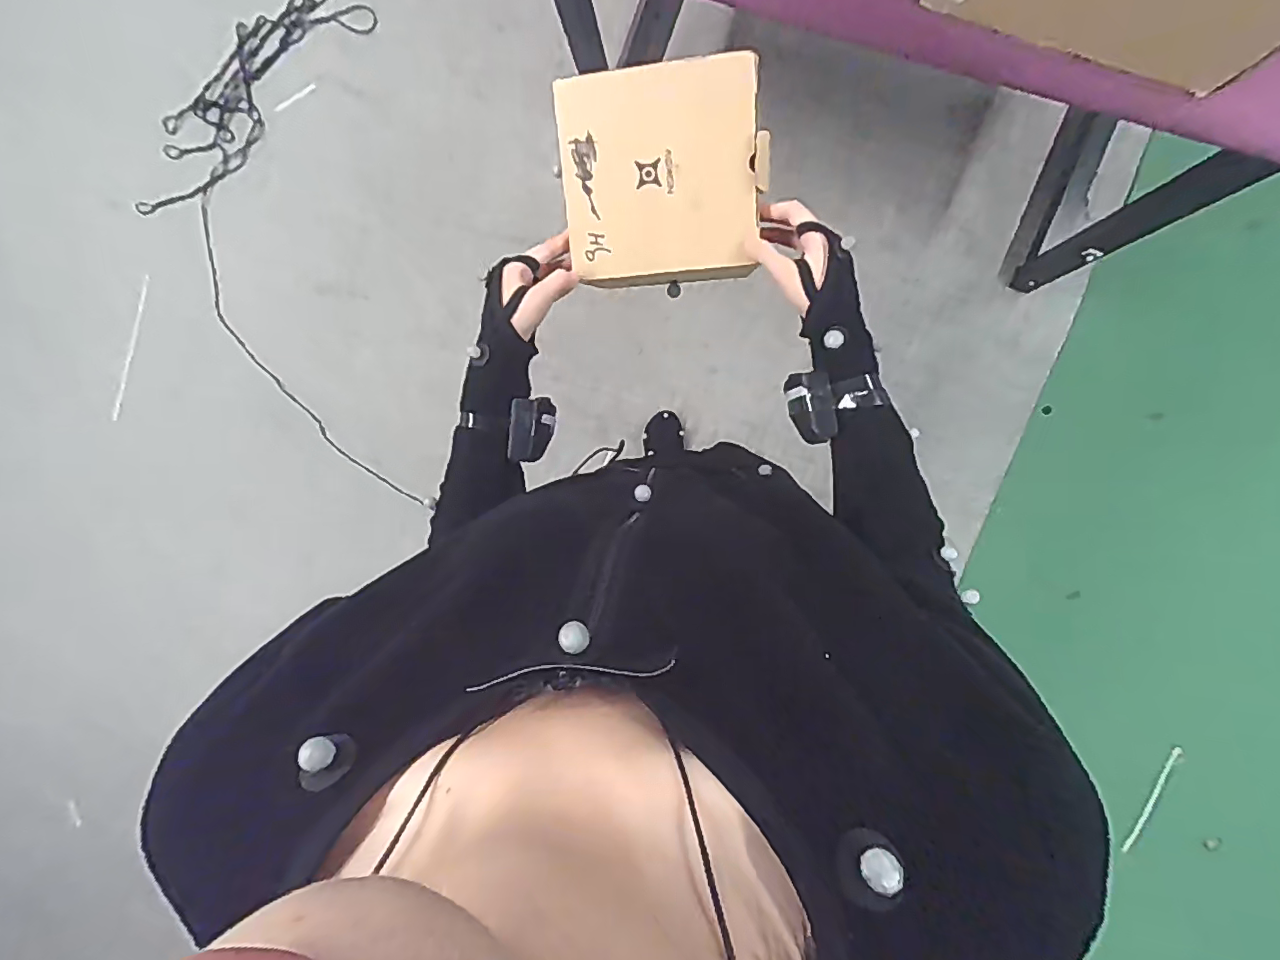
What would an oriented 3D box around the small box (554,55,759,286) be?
[{"bbox_3d":[0.023,-0.292,0.550,0.179,0.176,0.168,-1,106,7],"label":"small box"}]
